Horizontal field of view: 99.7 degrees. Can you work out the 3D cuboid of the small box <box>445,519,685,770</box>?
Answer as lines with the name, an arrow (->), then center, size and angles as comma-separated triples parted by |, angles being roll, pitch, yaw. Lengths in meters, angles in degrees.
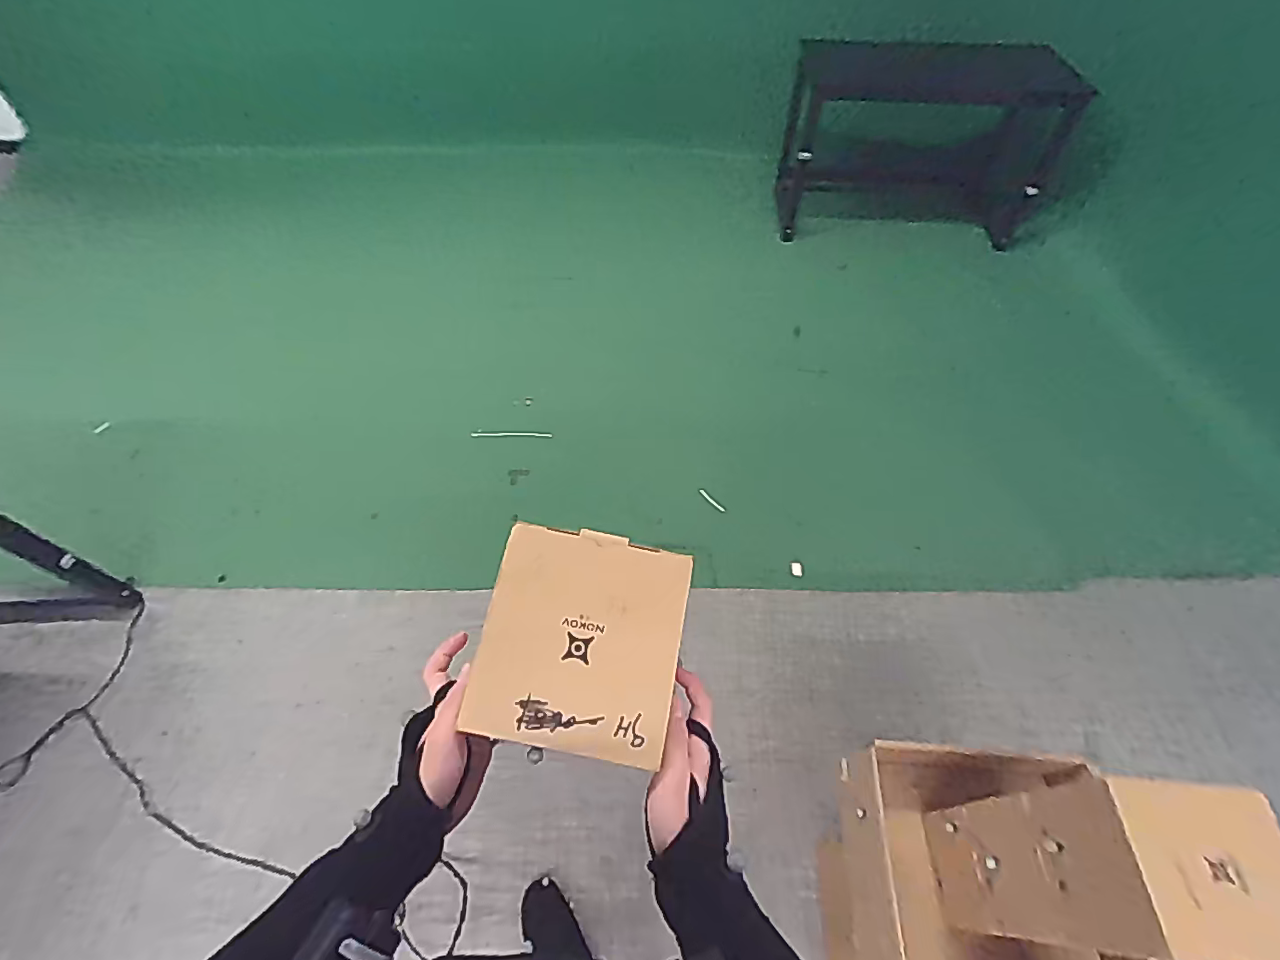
small box -> -0.059, 0.157, 0.517 | 0.168, 0.176, 0.179 | 10, 68, 2

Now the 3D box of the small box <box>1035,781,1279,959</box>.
small box -> 0.608, 0.456, 0.616 | 0.179, 0.176, 0.168 | 4, 53, 4

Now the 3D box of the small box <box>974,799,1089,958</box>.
small box -> 0.609, 0.552, 0.747 | 0.179, 0.176, 0.168 | 4, 53, 3
